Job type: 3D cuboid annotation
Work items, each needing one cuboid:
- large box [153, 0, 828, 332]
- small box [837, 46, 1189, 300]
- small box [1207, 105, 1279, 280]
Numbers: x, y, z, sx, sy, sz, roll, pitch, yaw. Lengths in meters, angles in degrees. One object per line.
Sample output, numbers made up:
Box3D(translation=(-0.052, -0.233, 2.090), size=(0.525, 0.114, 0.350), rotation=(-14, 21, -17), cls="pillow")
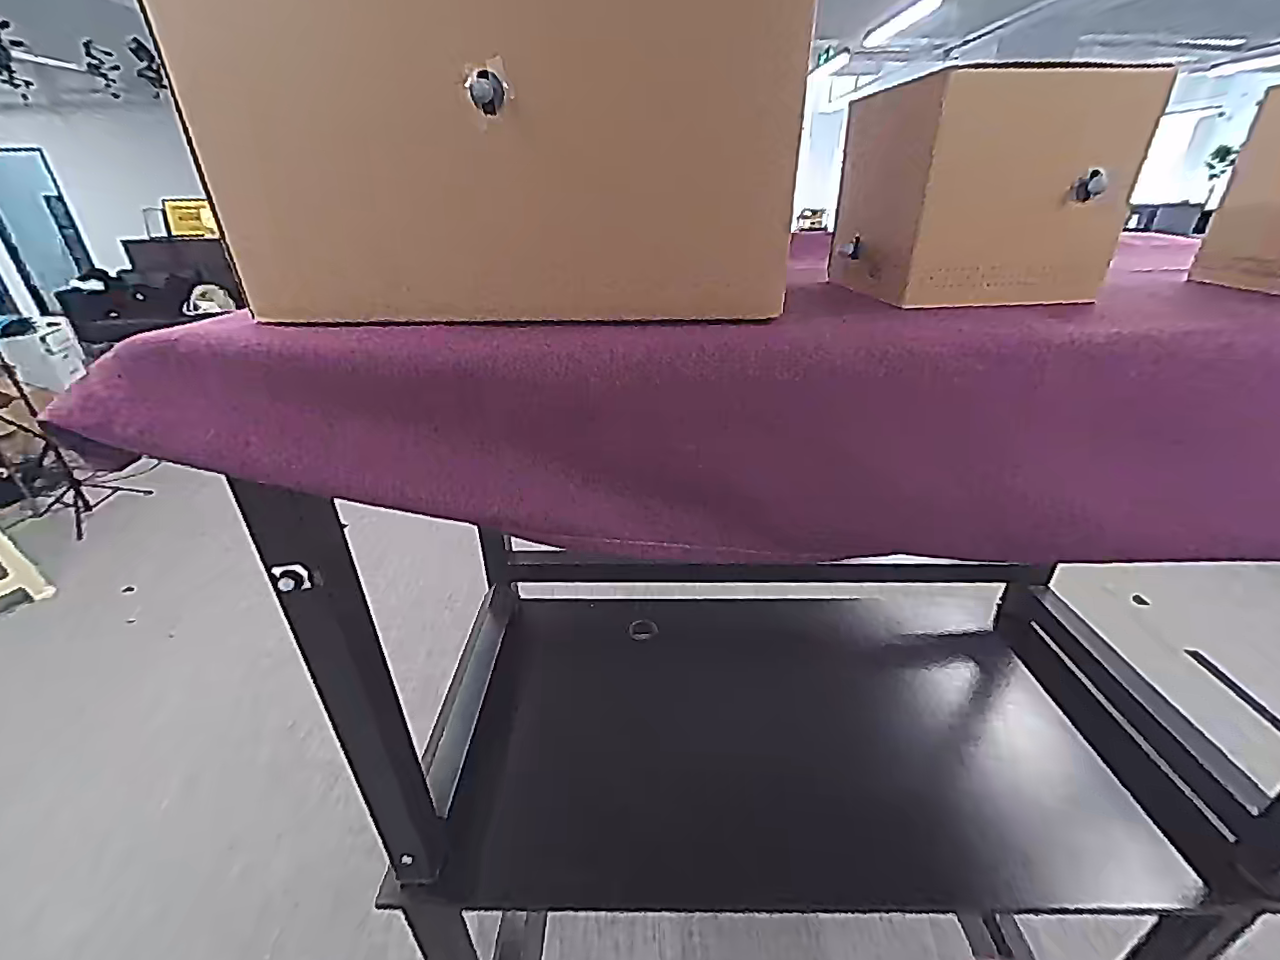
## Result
Box3D(translation=(-0.087, -0.321, 0.466), size=(0.408, 0.320, 0.320), rotation=(-1, 27, 1), cls="large box")
Box3D(translation=(0.299, -0.262, 0.483), size=(0.179, 0.176, 0.168), rotation=(-3, 27, -3), cls="small box")
Box3D(translation=(0.645, -0.249, 0.437), size=(0.179, 0.176, 0.168), rotation=(1, 27, 4), cls="small box")
